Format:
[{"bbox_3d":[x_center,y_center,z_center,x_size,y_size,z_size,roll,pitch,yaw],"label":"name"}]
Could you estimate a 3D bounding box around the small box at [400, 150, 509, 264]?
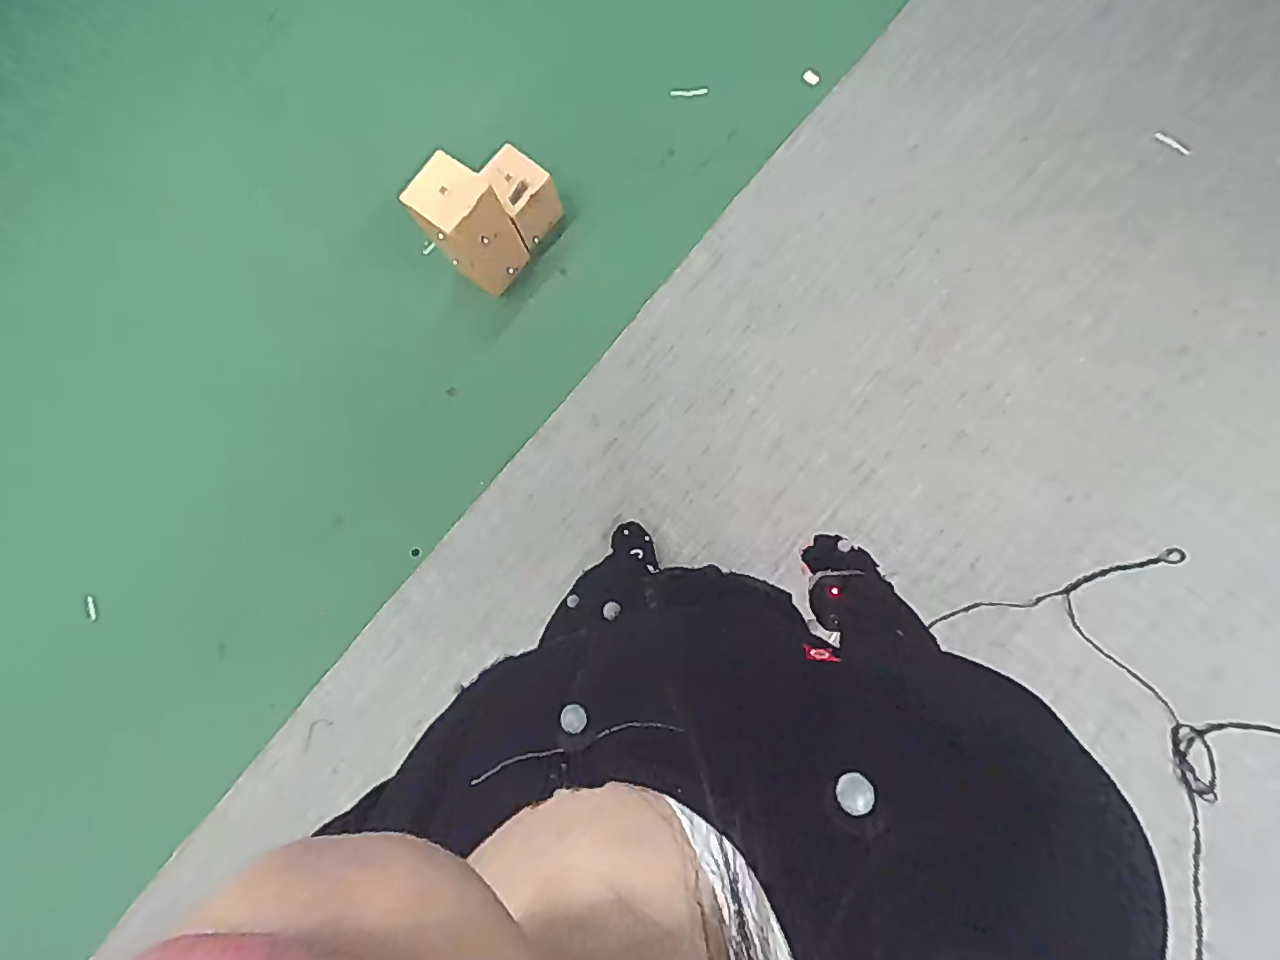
[{"bbox_3d":[-0.476,-0.704,1.416,0.179,0.176,0.168,36,86,8],"label":"small box"}]
